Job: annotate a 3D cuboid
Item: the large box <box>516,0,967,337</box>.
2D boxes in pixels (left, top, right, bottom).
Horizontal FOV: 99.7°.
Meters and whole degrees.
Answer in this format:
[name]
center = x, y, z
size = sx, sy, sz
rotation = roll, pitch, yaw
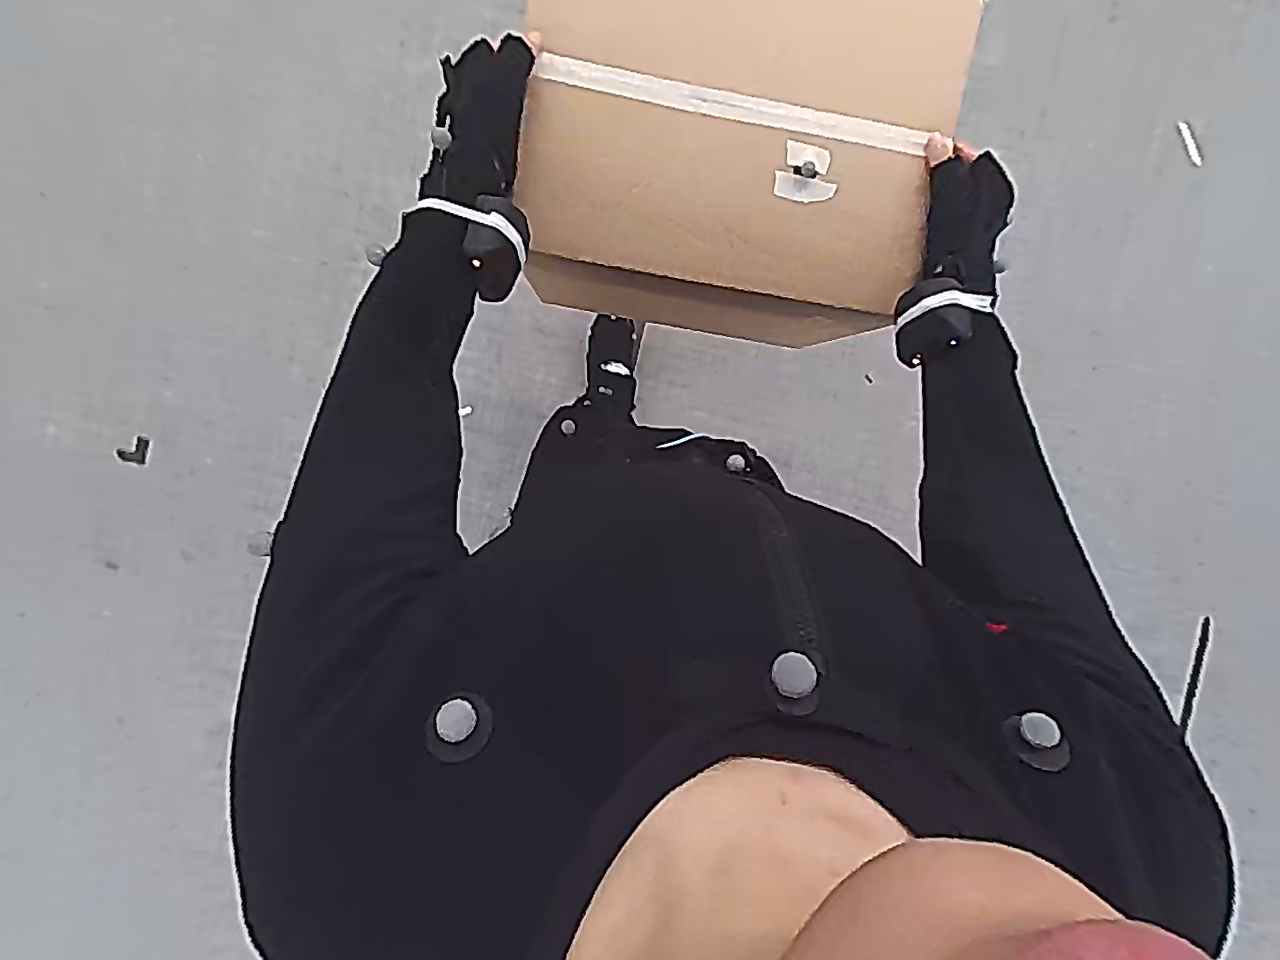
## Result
[large box]
center = 0.084, -0.374, 0.658
size = 0.408, 0.320, 0.320
rotation = 8, 99, -6
